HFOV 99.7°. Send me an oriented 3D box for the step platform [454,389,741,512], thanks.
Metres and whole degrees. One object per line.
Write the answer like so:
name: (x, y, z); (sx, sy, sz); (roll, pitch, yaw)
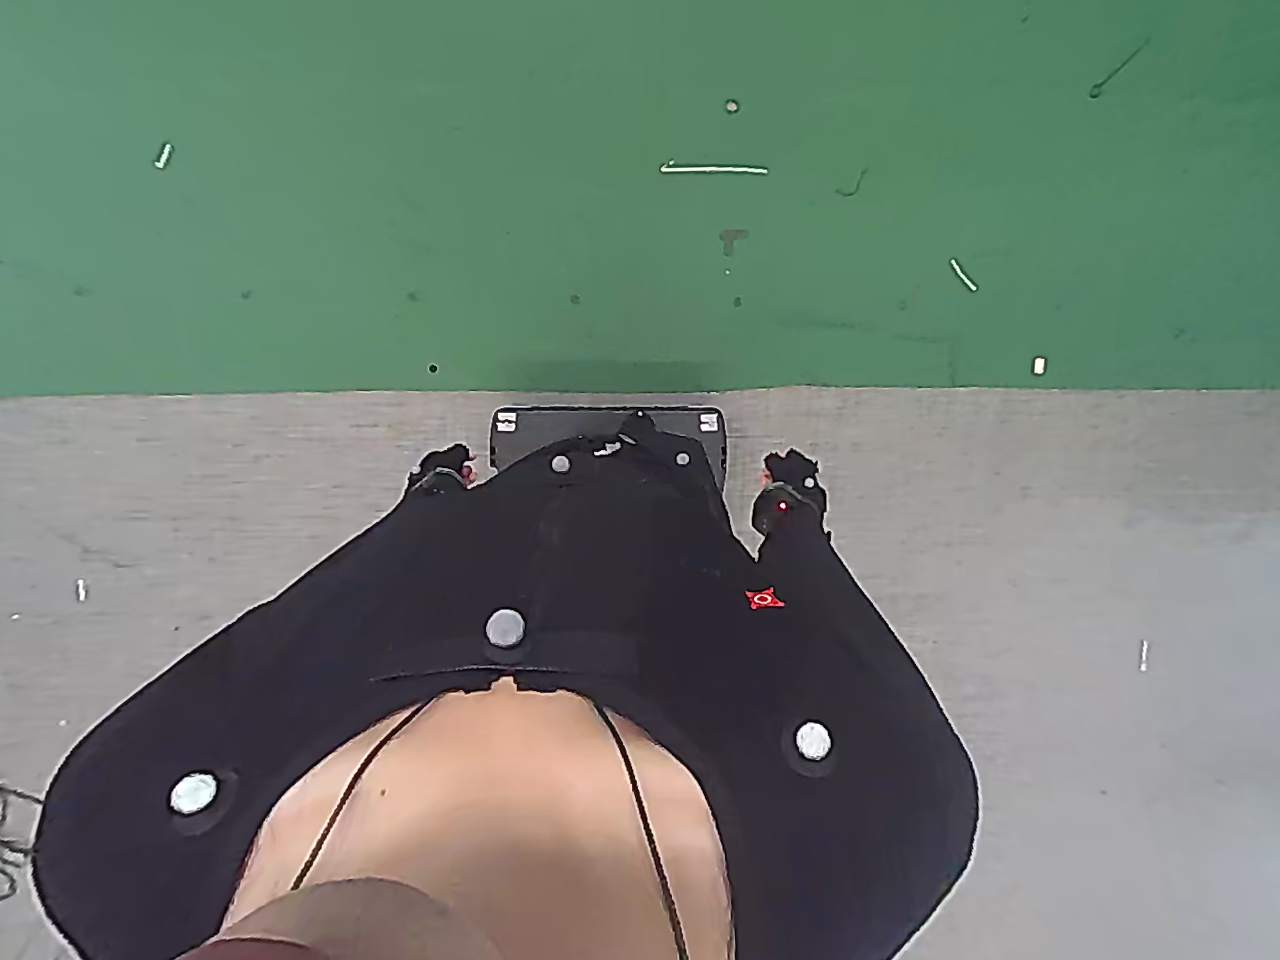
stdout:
step platform: (-0.099, -0.080, 1.377); (0.684, 0.204, 0.286); (-1, 97, 0)
